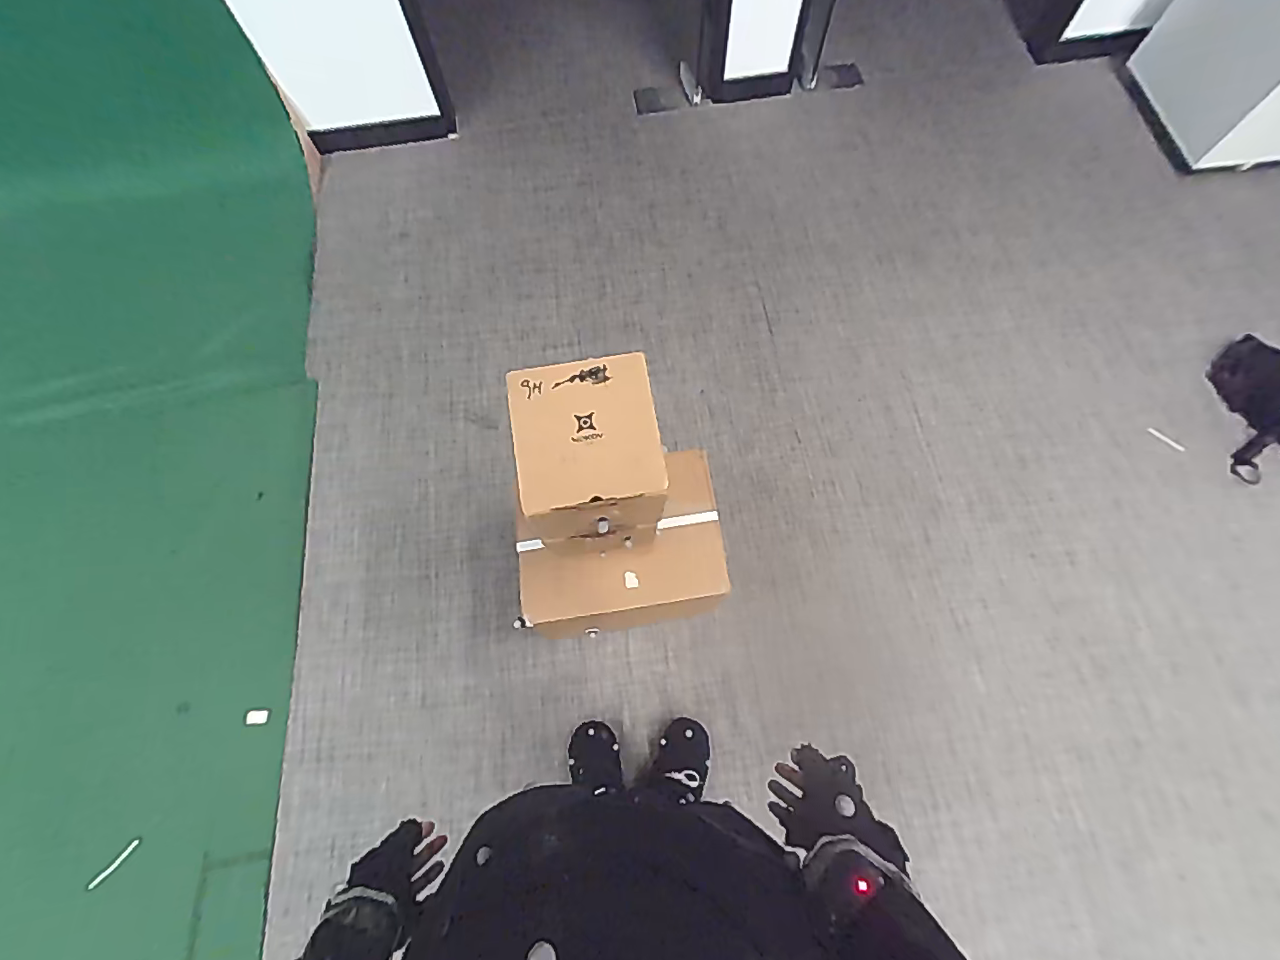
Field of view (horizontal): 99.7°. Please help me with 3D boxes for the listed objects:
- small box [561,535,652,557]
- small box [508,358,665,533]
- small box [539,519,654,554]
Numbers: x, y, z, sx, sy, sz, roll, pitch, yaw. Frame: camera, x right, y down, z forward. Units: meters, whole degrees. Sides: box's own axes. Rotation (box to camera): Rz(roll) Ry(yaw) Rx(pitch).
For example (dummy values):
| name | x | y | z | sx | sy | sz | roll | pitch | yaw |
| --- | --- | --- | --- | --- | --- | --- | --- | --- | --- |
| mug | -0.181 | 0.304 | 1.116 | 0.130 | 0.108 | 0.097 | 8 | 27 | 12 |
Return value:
| name | x | y | z | sx | sy | sz | roll | pitch | yaw |
| --- | --- | --- | --- | --- | --- | --- | --- | --- | --- |
| small box | -0.070 | 0.049 | 1.010 | 0.179 | 0.176 | 0.168 | -2 | 73 | 0 |
| small box | -0.063 | -0.032 | 0.697 | 0.168 | 0.176 | 0.179 | -9 | 76 | -3 |
| small box | -0.072 | 0.016 | 0.853 | 0.168 | 0.176 | 0.179 | -10 | 74 | -4 |
